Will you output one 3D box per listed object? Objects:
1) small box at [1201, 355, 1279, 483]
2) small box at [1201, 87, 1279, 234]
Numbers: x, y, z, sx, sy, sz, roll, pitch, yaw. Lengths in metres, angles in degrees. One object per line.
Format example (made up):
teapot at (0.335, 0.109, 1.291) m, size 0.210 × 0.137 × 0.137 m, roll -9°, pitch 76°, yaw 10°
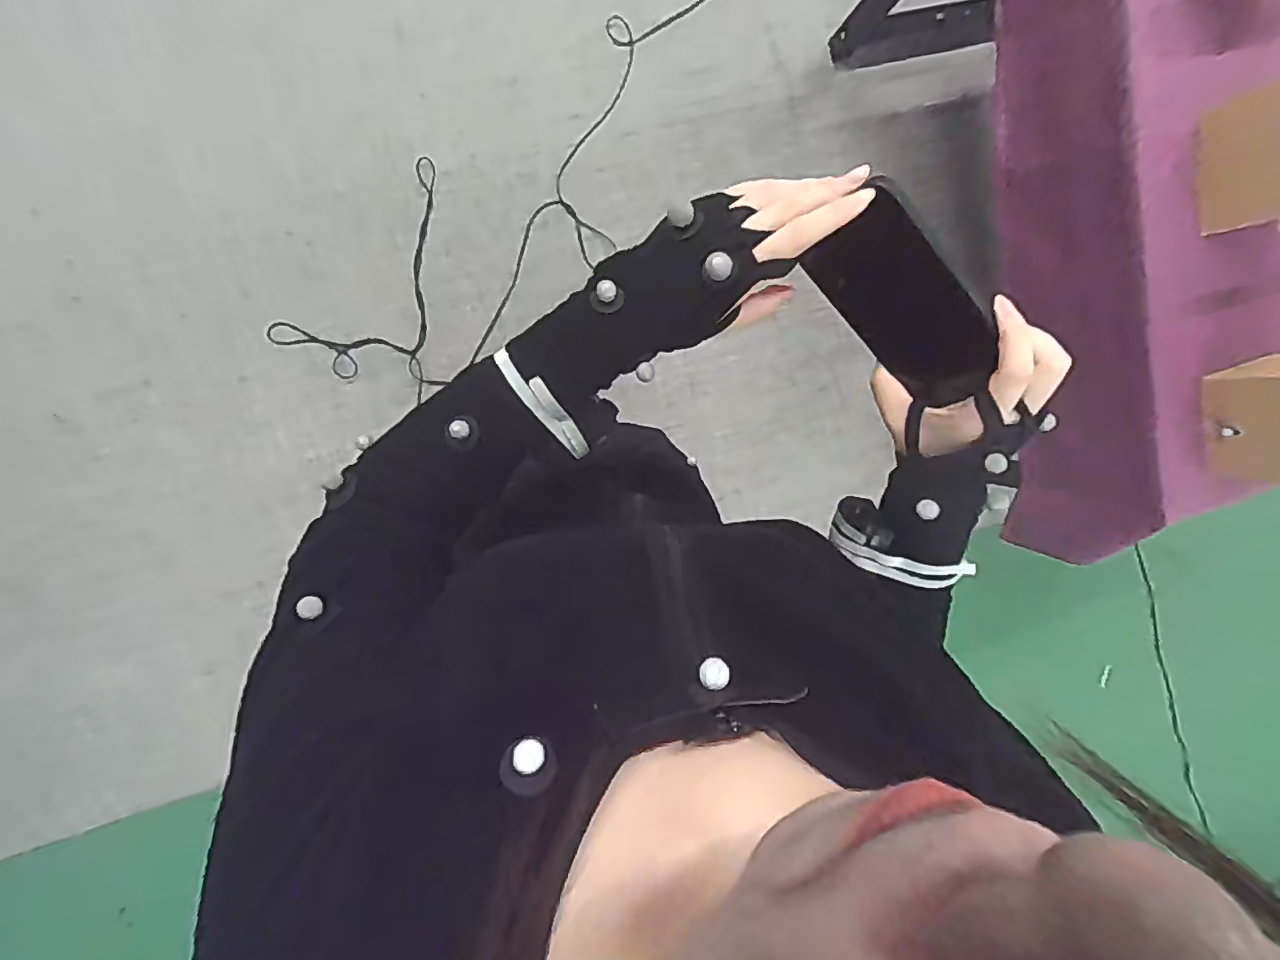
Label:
small box at (1.035, -0.097, 0.841) m, size 0.168 × 0.176 × 0.179 m, roll -17°, pitch 101°, yaw -8°
small box at (0.961, -0.474, 0.771) m, size 0.168 × 0.176 × 0.179 m, roll -13°, pitch 101°, yaw -8°
